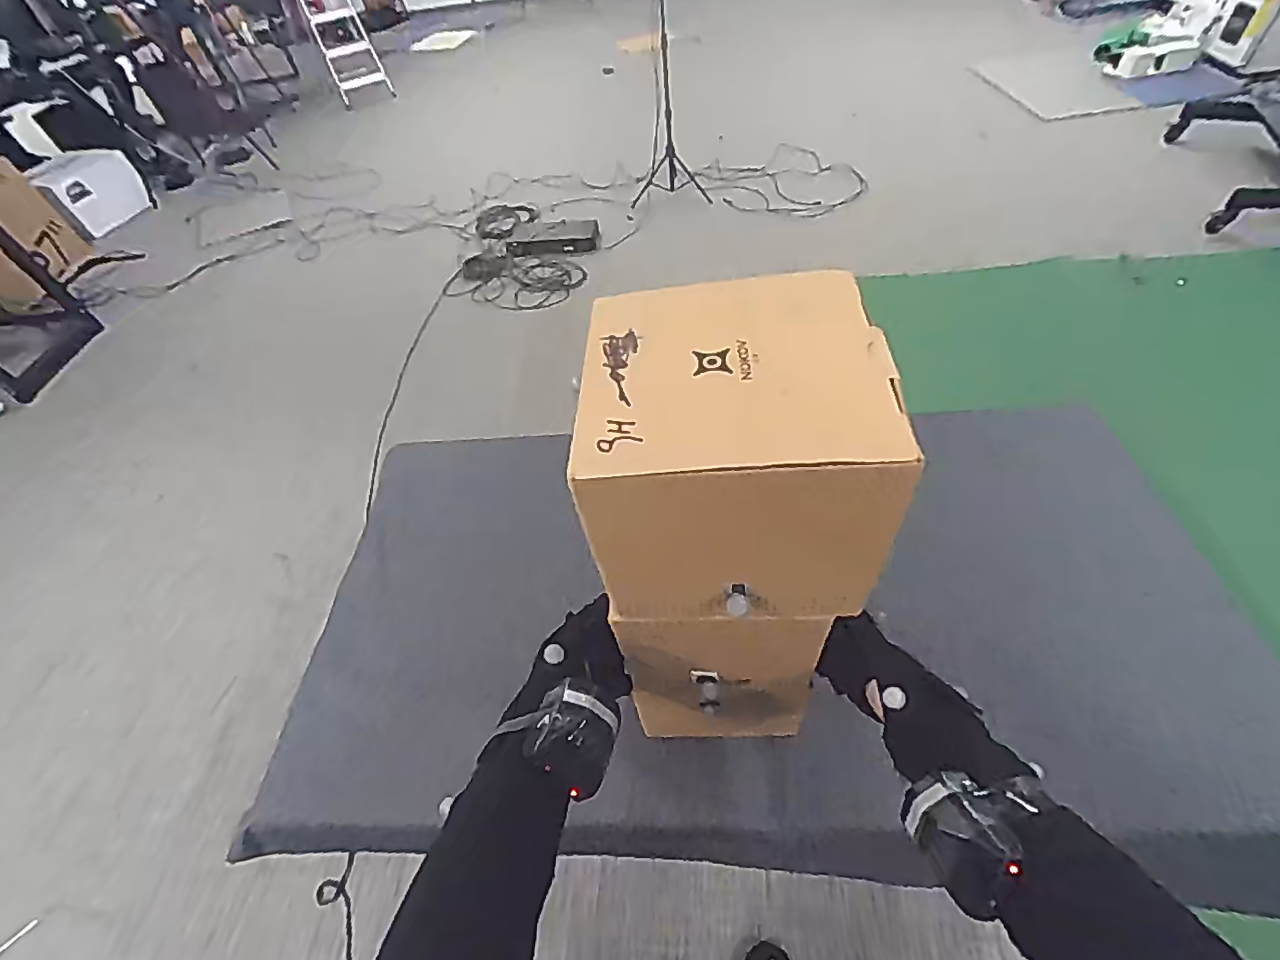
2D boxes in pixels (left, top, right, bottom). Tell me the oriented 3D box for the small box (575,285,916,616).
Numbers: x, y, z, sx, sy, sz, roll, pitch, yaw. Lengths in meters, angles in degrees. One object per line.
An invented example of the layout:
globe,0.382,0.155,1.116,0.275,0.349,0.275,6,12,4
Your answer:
small box,0.063,-0.014,0.386,0.179,0.176,0.168,-3,50,7

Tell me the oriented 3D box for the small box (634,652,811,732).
small box,0.091,0.189,0.638,0.179,0.176,0.168,-3,51,5

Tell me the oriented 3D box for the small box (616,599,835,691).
small box,0.075,0.085,0.516,0.168,0.176,0.179,-3,52,7
